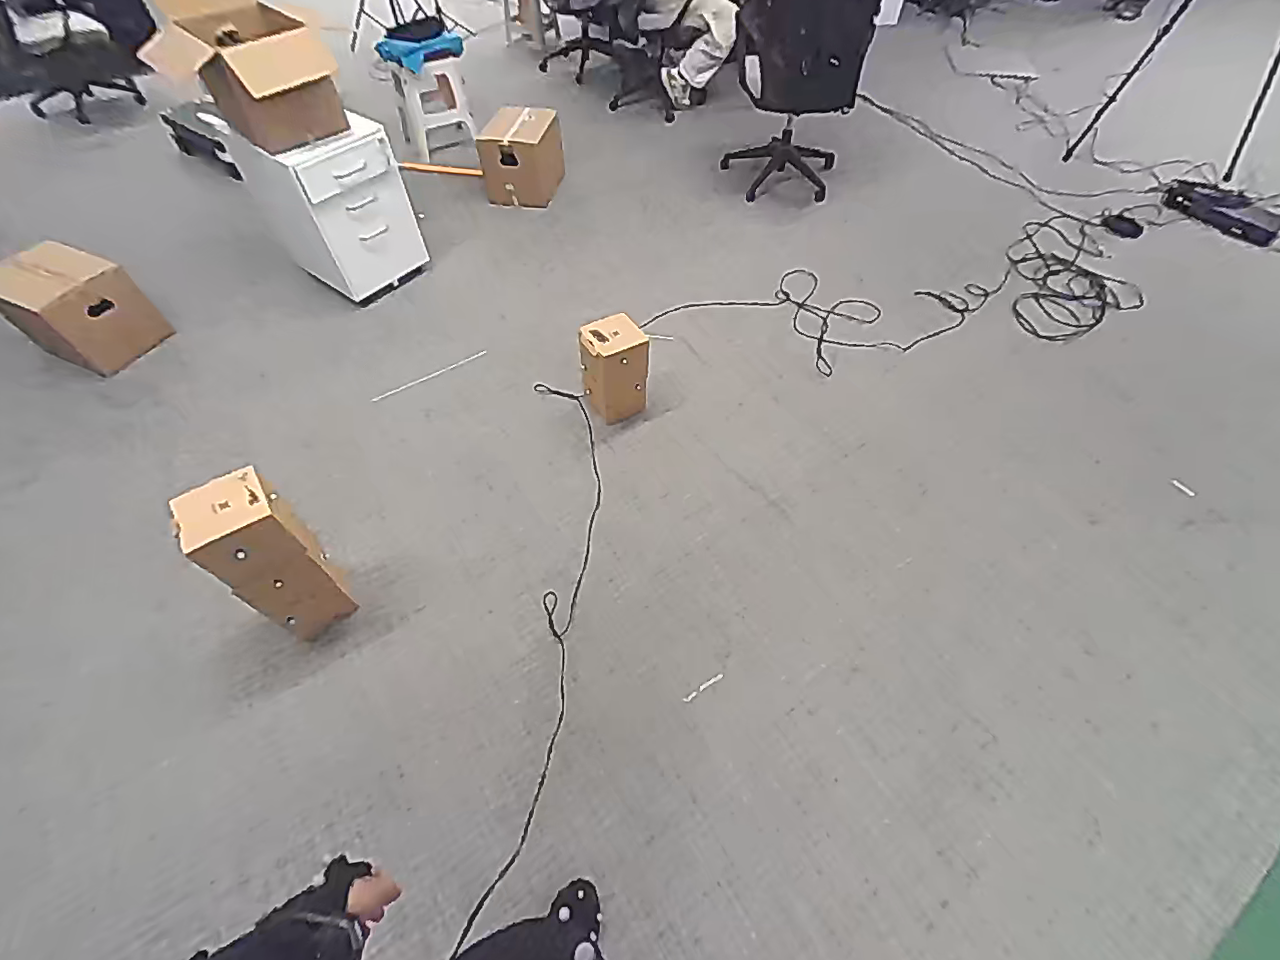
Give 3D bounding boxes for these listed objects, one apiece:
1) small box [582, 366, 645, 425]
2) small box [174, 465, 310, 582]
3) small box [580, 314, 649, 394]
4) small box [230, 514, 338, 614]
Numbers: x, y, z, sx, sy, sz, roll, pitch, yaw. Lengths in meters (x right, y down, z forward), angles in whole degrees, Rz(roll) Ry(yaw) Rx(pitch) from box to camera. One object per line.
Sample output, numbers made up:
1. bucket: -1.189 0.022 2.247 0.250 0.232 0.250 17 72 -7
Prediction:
1. small box: -0.091 -0.328 1.946 0.179 0.176 0.168 -27 58 -19
2. small box: -0.905 0.104 1.238 0.179 0.176 0.168 -31 60 -20
3. small box: -0.083 -0.417 1.807 0.179 0.176 0.168 -26 58 -19
4. small box: -0.905 0.208 1.366 0.179 0.176 0.168 -30 60 -21
